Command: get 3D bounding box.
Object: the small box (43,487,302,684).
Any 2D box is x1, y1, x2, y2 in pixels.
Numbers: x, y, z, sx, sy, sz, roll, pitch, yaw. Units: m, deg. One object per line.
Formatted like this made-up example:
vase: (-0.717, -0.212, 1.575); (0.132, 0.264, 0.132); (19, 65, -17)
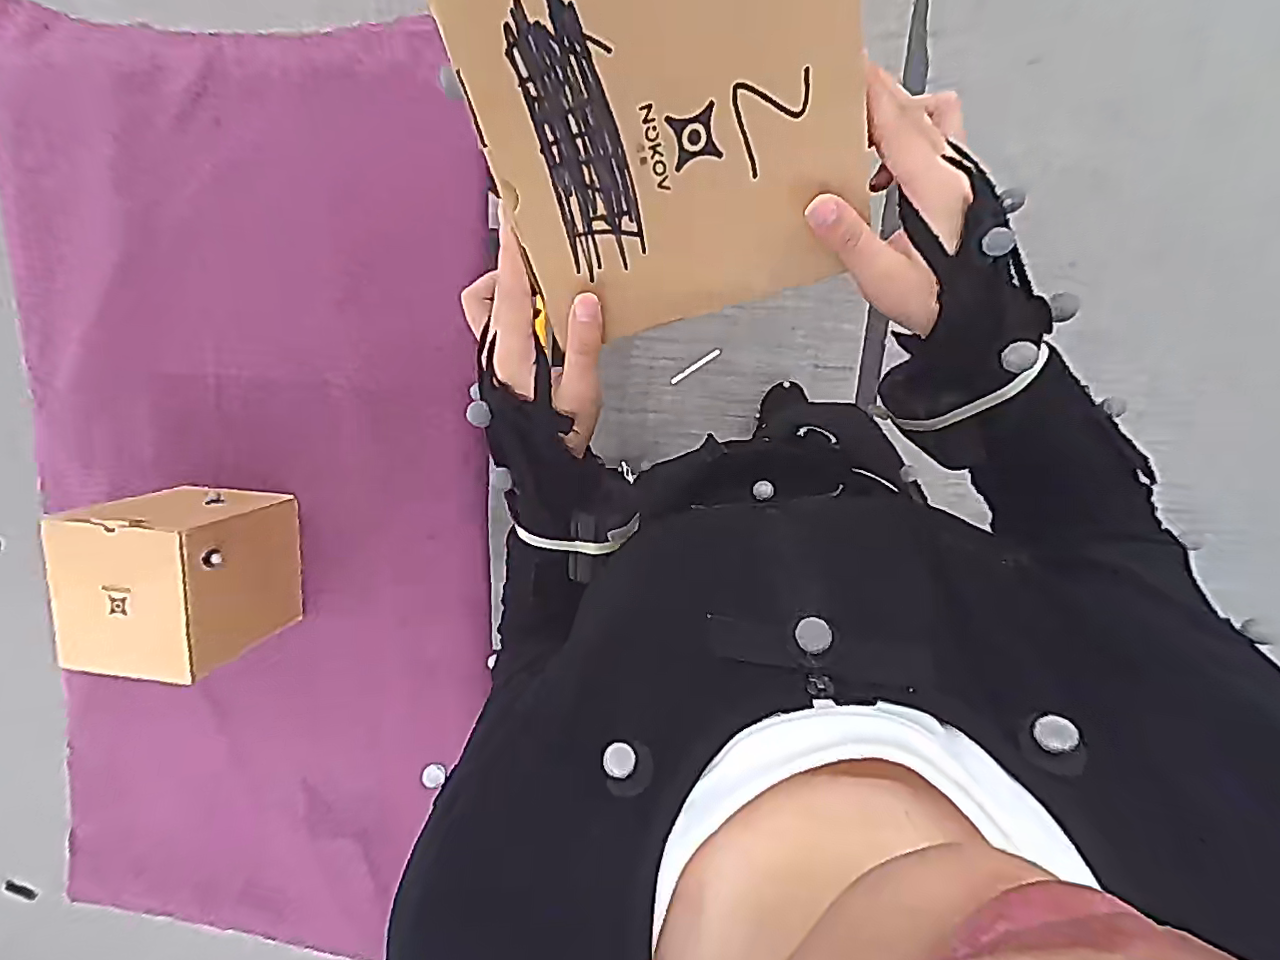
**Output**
small box: (-0.540, 0.114, 0.650); (0.168, 0.176, 0.179); (5, 100, 6)
